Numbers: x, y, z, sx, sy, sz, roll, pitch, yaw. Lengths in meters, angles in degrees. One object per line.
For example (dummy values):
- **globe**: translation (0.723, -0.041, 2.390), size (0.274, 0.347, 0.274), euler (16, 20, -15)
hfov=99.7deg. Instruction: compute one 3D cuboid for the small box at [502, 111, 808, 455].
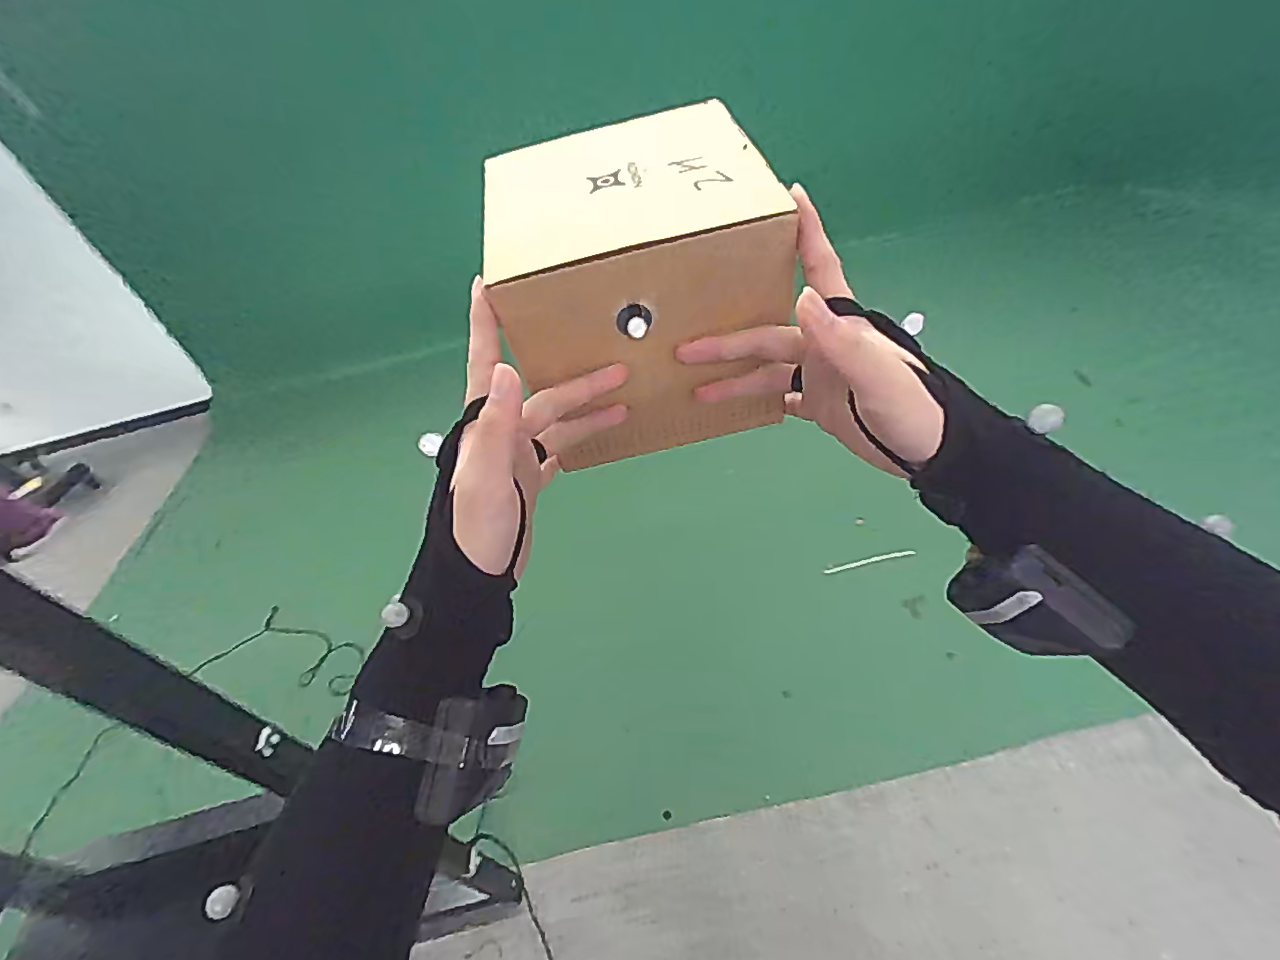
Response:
- **small box**: translation (0.010, -0.139, 0.406), size (0.179, 0.176, 0.168), euler (-12, 52, 1)
